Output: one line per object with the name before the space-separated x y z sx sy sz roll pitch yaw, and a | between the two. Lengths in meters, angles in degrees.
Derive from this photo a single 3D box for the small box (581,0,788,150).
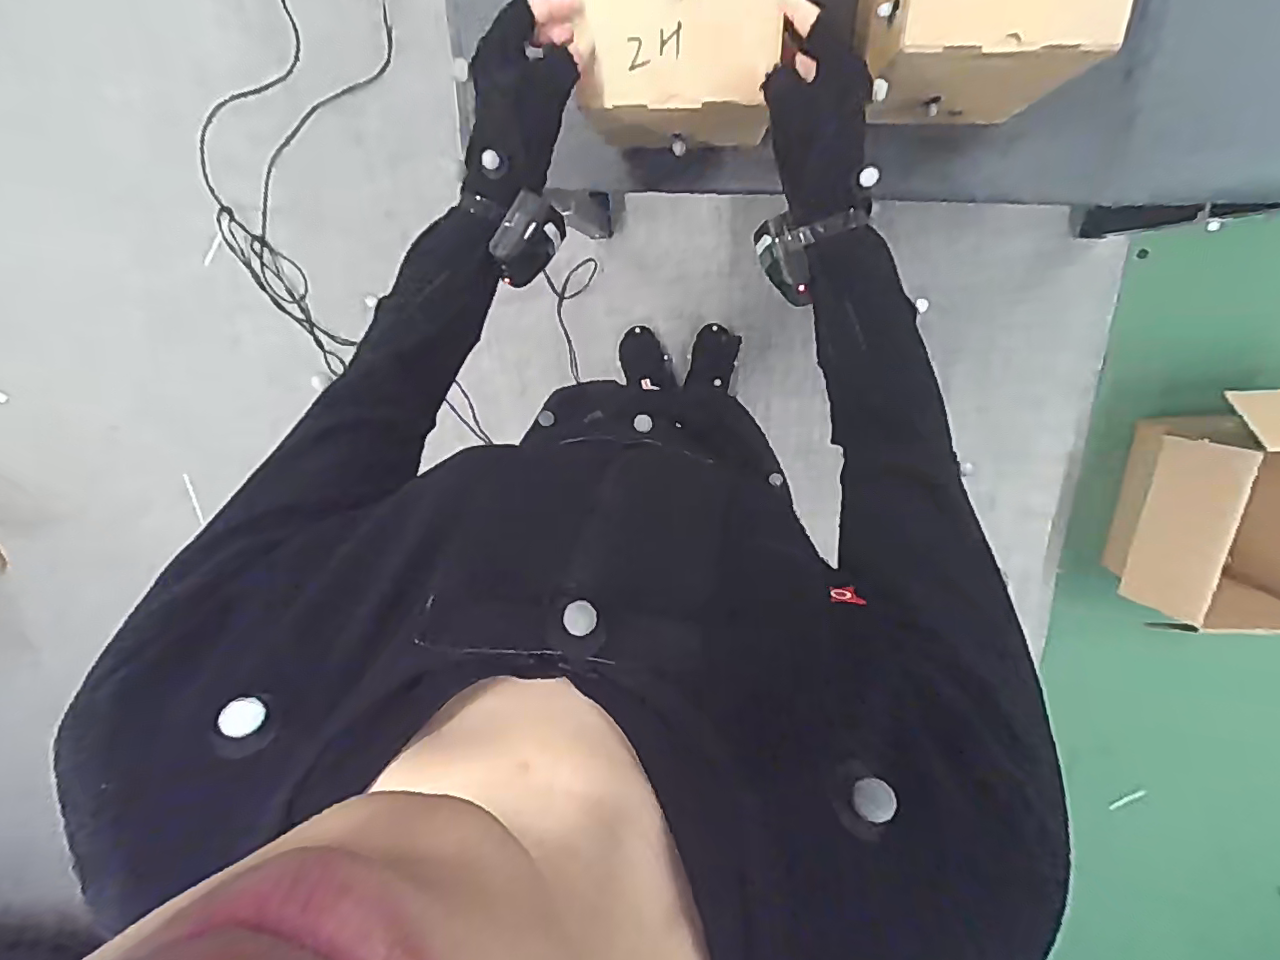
small box | 0.041 -0.420 0.494 0.168 0.176 0.179 2 113 6
